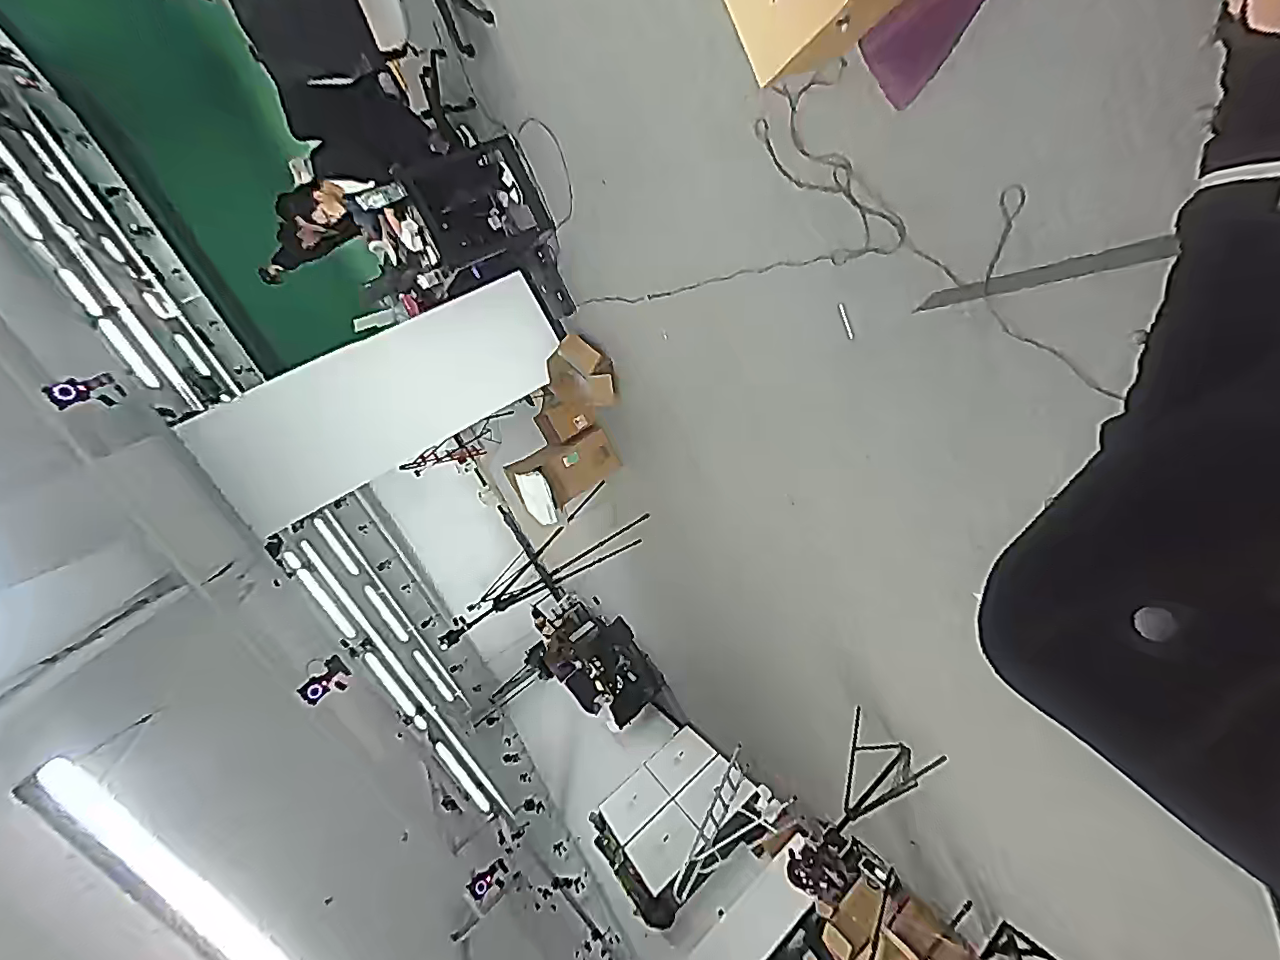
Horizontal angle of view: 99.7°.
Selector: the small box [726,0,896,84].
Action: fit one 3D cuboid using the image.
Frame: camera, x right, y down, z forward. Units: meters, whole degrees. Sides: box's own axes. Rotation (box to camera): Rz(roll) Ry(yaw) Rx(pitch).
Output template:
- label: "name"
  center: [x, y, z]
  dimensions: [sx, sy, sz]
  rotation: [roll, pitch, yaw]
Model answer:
- label: "small box"
  center: [0.242, -0.697, 0.741]
  dimensions: [0.168, 0.176, 0.179]
  rotation: [61, 158, -14]
